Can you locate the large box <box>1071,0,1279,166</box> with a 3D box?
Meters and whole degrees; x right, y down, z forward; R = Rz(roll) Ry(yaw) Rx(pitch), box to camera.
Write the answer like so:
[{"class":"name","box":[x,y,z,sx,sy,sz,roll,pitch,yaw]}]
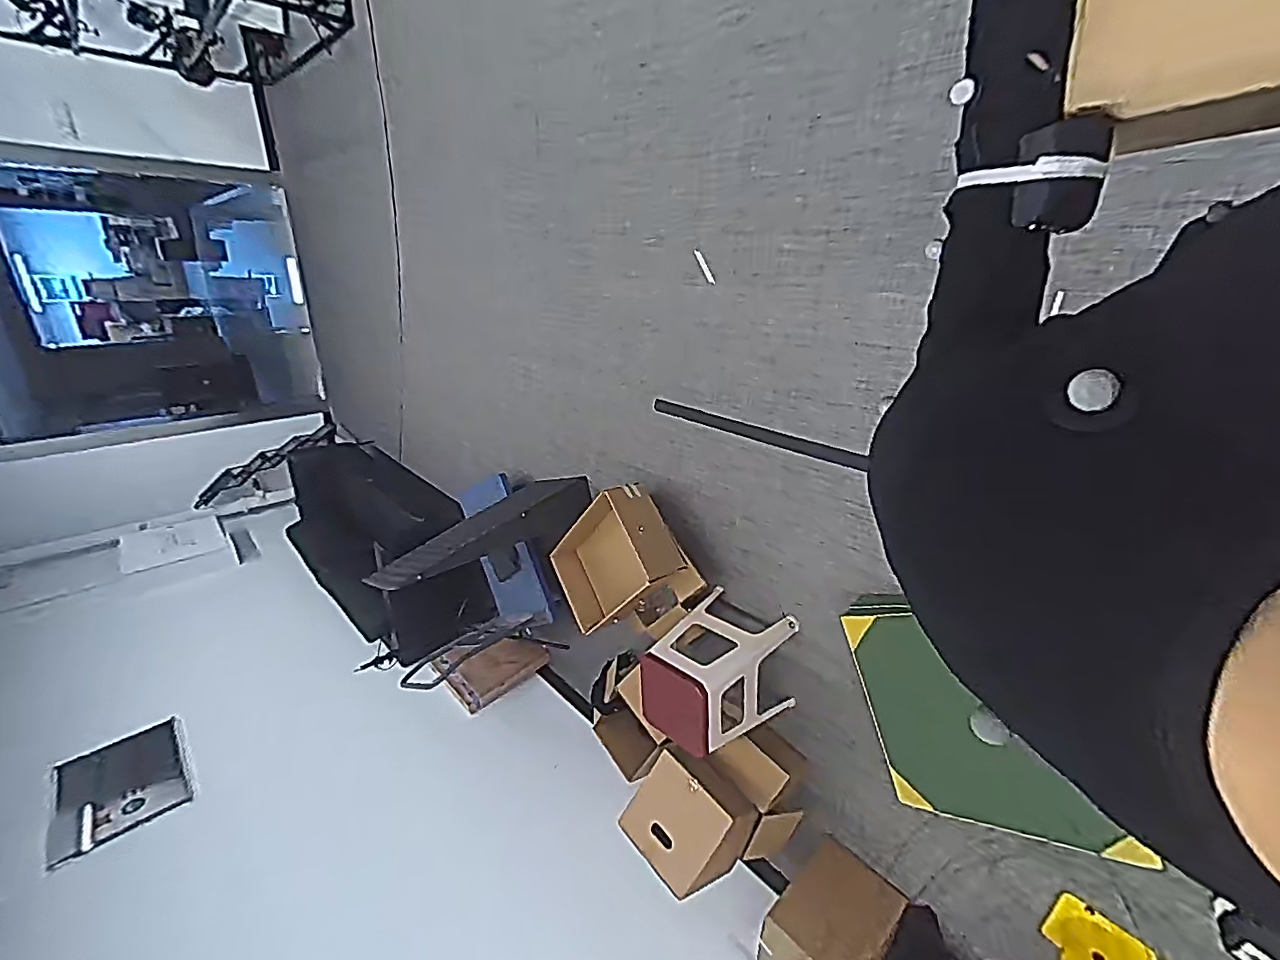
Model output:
[{"class":"large box","box":[0.530,-0.400,0.301,0.408,0.320,0.320,12,119,42]}]
